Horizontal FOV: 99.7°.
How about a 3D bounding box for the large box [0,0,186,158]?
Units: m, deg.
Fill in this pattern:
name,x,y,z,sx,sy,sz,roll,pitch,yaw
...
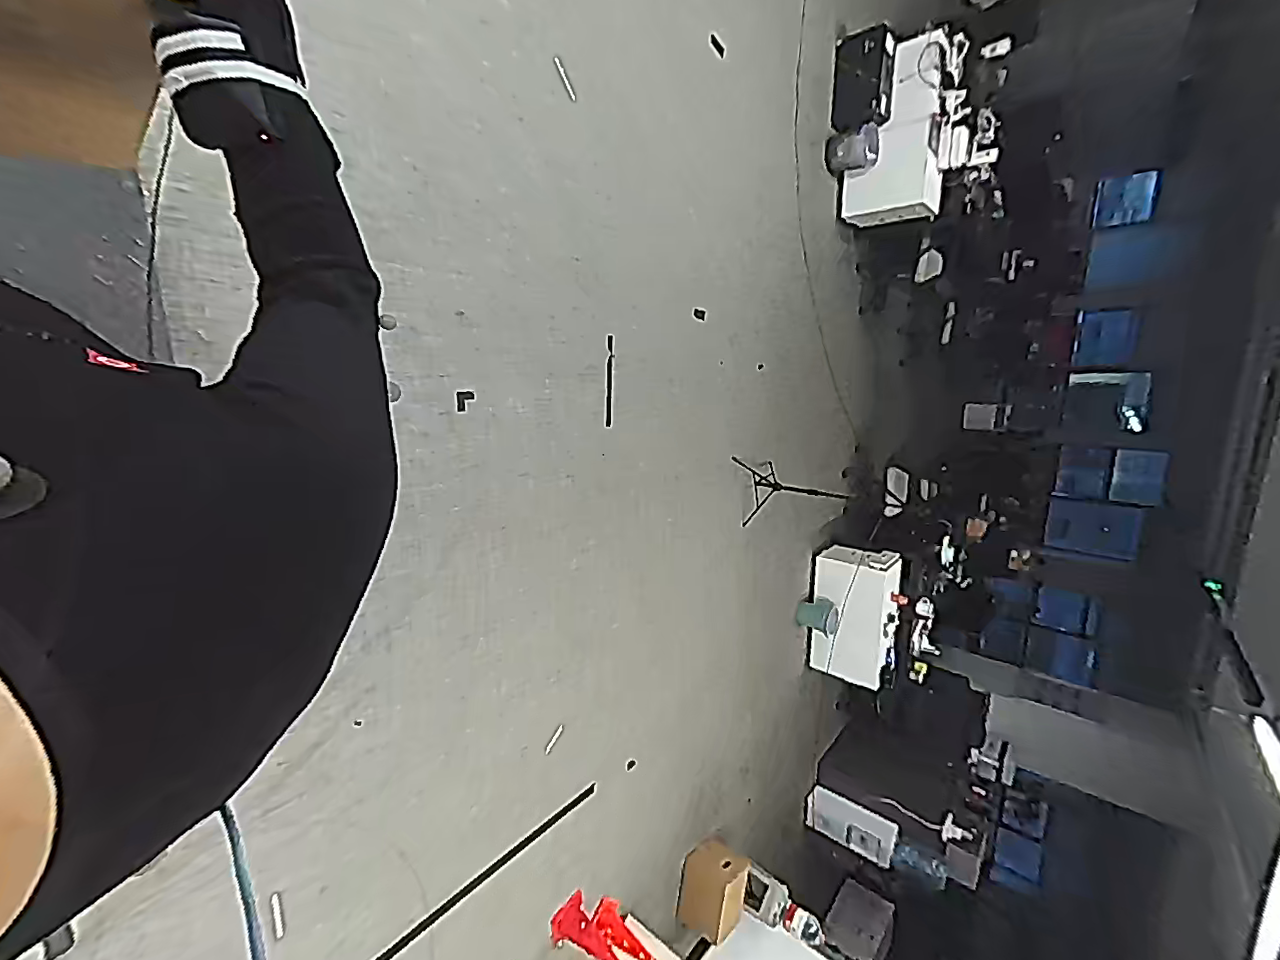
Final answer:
name,x,y,z,sx,sy,sz,roll,pitch,yaw
large box,-0.544,-0.408,0.267,0.408,0.320,0.320,-20,108,-46
